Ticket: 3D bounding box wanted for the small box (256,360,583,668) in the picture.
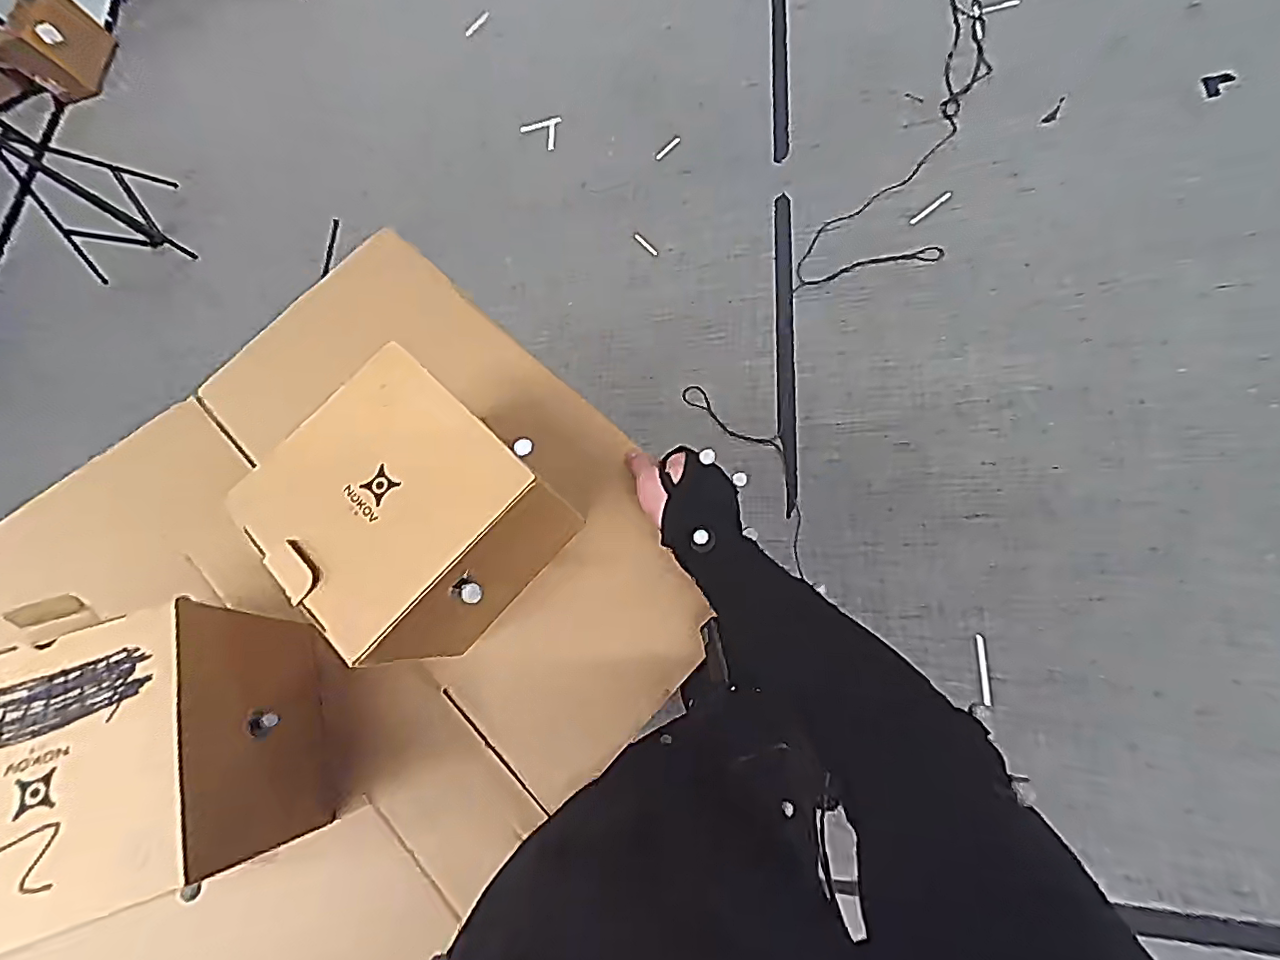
[{"bbox_3d":[-0.167,0.036,0.475,0.168,0.176,0.179,42,84,15],"label":"small box"}]
